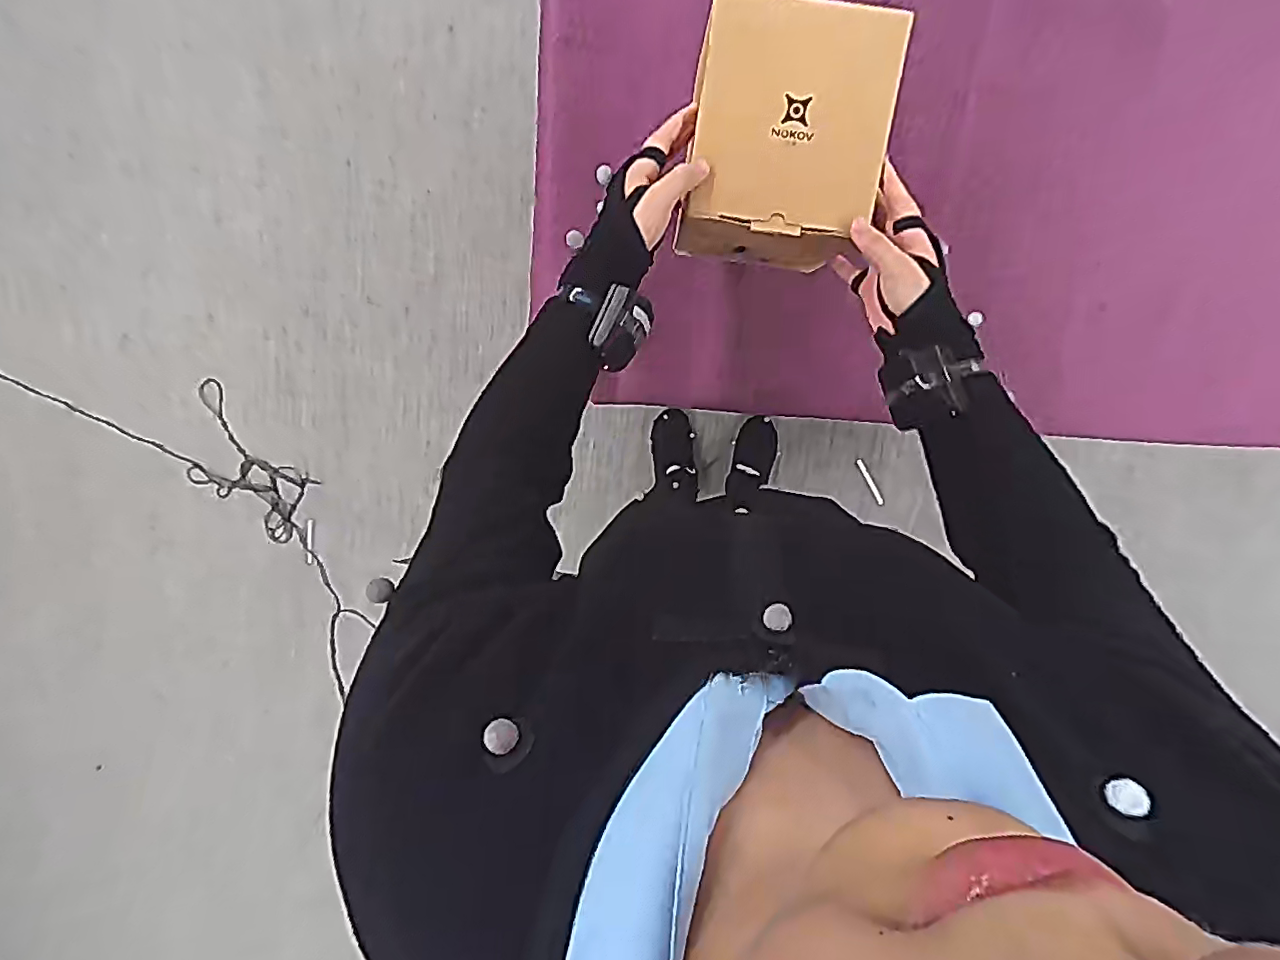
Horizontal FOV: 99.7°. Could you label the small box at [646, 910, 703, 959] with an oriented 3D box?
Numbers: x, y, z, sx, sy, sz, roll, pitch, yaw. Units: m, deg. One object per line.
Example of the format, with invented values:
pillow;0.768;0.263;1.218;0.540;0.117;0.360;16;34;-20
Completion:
small box;0.100;1.444;1.624;0.168;0.176;0.179;3;100;5
